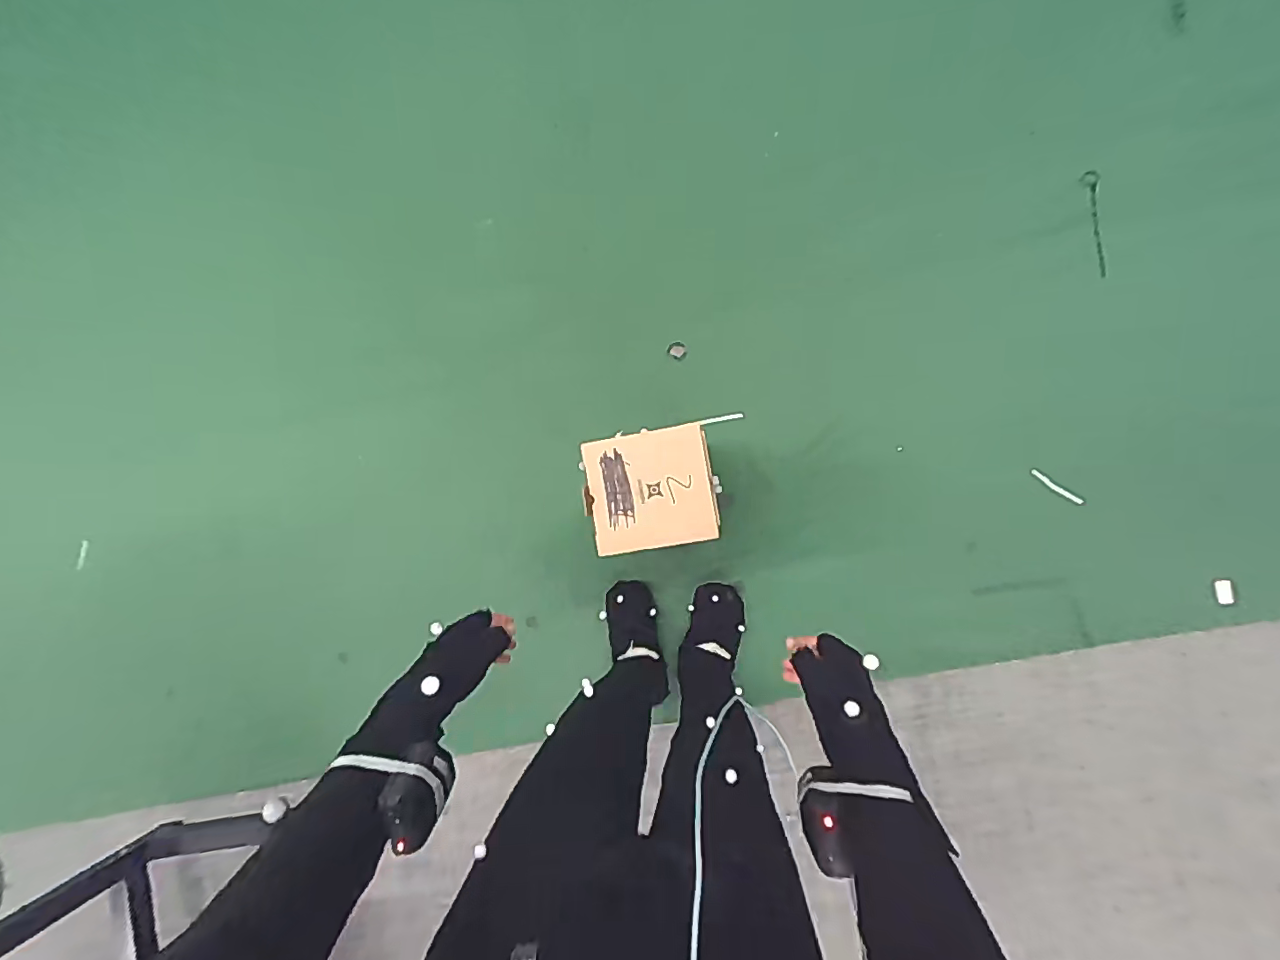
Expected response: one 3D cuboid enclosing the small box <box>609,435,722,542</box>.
[{"bbox_3d":[0.051,0.014,1.000,0.179,0.176,0.168,-9,88,7],"label":"small box"}]
